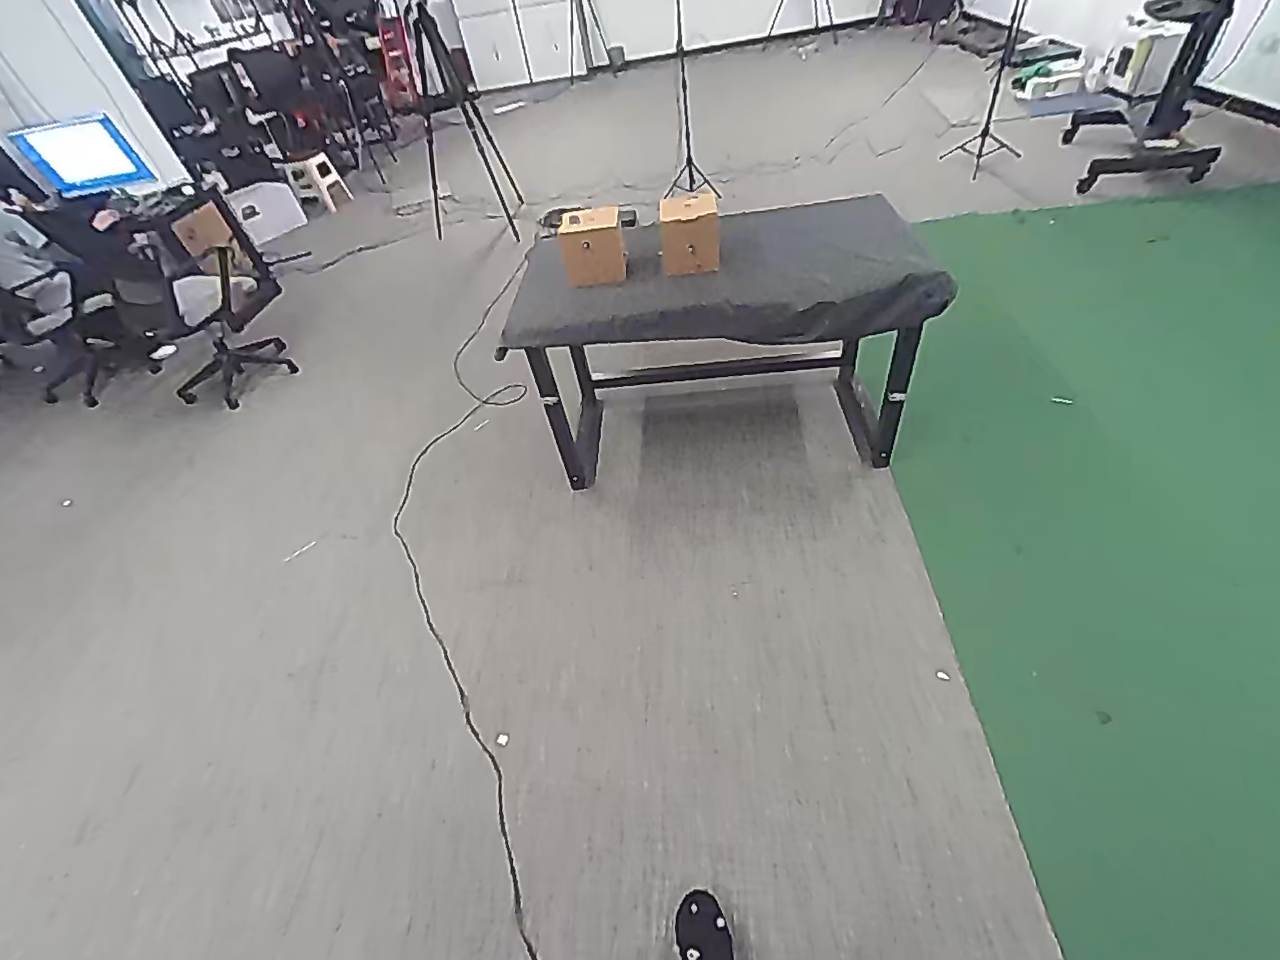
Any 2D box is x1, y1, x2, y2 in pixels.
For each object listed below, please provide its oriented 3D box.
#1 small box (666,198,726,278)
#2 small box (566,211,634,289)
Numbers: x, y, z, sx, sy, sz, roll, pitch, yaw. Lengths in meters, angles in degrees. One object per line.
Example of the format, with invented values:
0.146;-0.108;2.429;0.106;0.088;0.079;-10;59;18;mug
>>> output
0.171;-0.727;1.640;0.168;0.176;0.179;-4;45;8;small box
-0.119;-0.710;1.680;0.179;0.176;0.168;-5;45;5;small box
